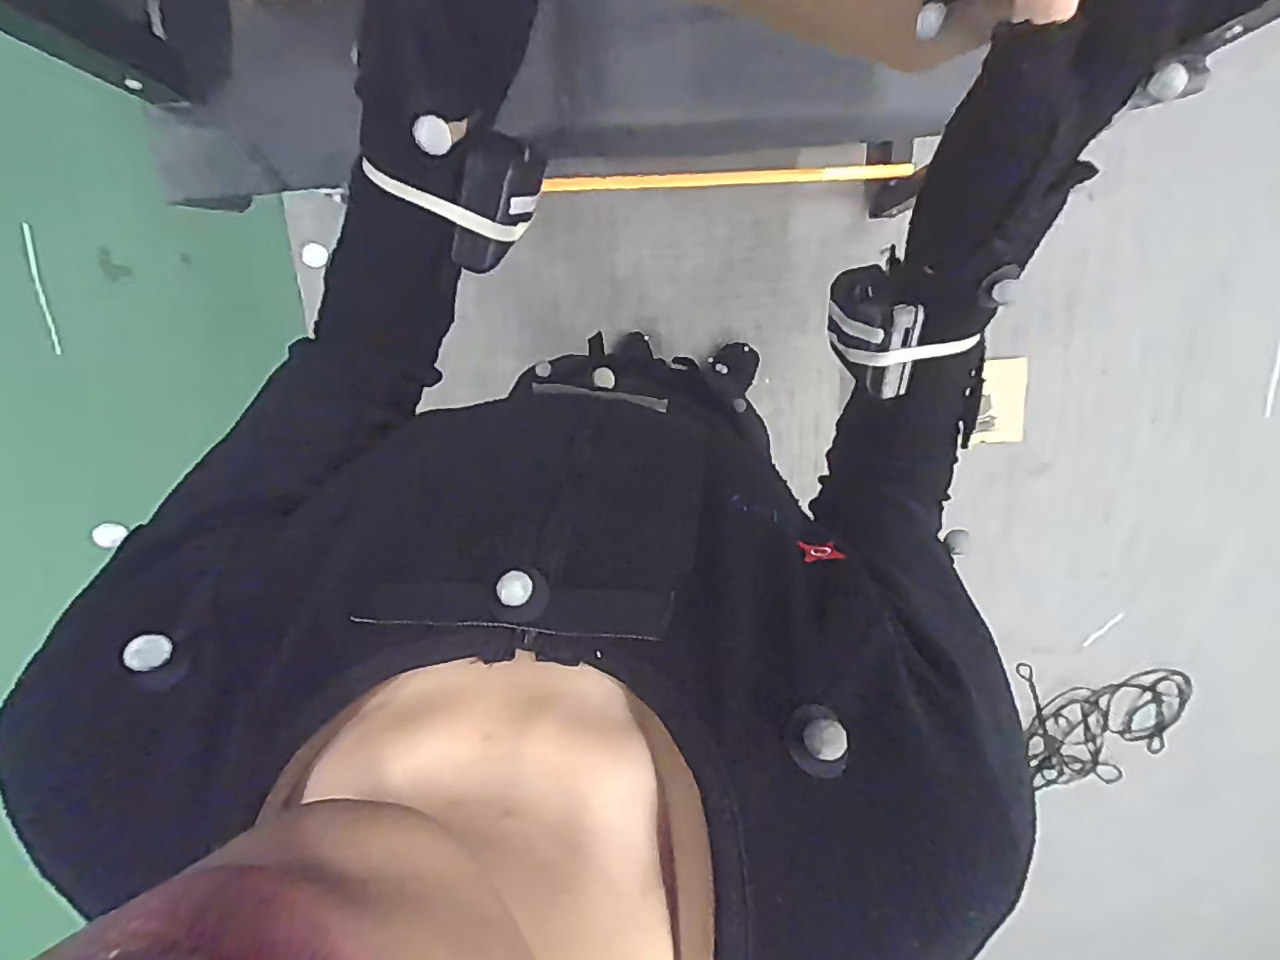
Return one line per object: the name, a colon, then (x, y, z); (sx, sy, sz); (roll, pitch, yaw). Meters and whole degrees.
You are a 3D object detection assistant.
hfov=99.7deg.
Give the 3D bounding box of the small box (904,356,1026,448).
small box: (0.700, -0.176, 1.186); (0.168, 0.176, 0.179); (-5, 103, 1)
